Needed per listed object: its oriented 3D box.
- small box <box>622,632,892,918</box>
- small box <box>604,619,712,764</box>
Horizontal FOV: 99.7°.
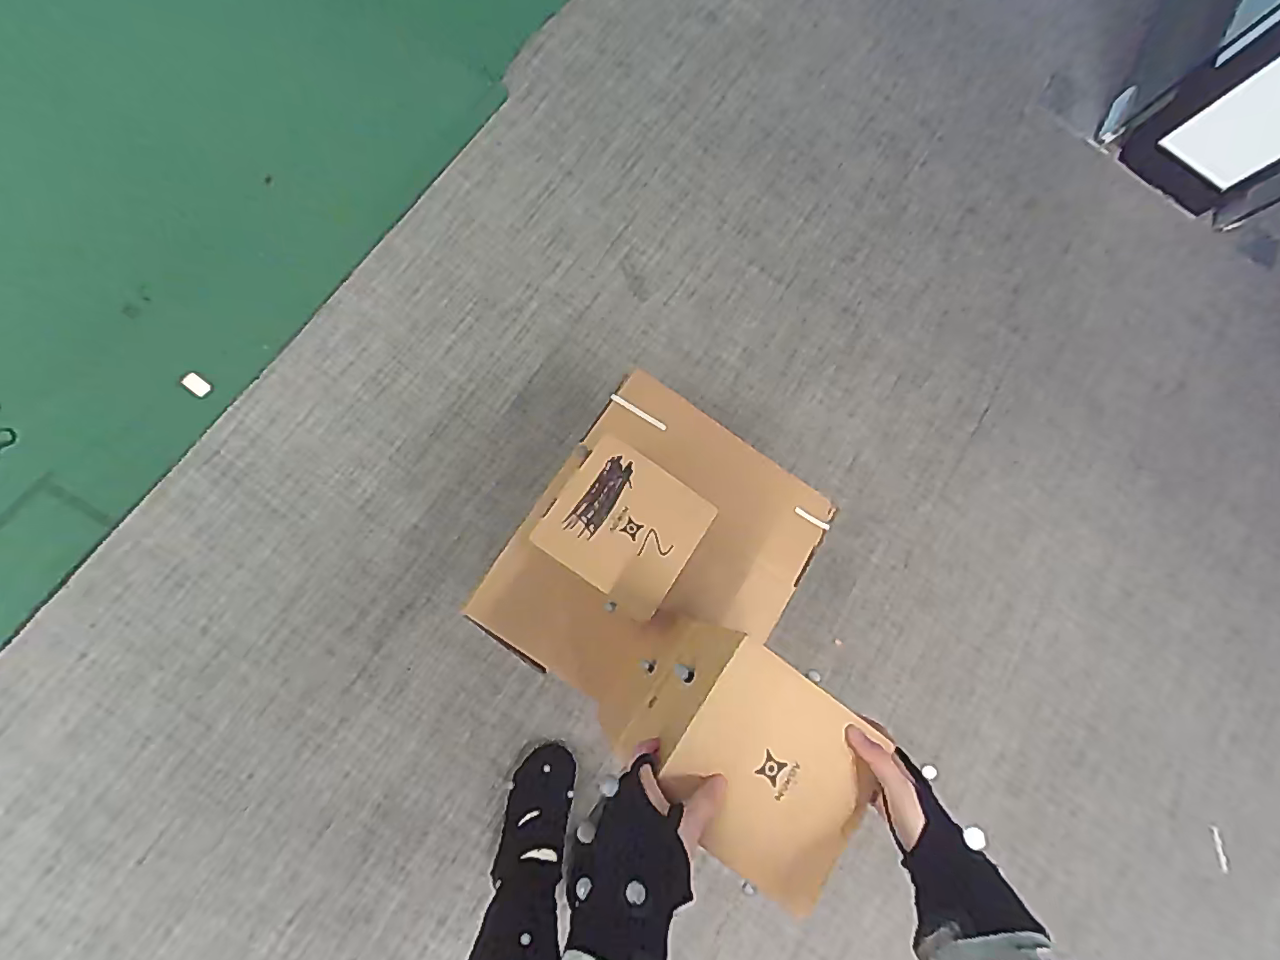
[{"bbox_3d":[0.102,0.269,0.545,0.179,0.176,0.168,37,75,-3],"label":"small box"},{"bbox_3d":[0.067,0.298,0.704,0.168,0.176,0.179,36,76,-3],"label":"small box"}]
